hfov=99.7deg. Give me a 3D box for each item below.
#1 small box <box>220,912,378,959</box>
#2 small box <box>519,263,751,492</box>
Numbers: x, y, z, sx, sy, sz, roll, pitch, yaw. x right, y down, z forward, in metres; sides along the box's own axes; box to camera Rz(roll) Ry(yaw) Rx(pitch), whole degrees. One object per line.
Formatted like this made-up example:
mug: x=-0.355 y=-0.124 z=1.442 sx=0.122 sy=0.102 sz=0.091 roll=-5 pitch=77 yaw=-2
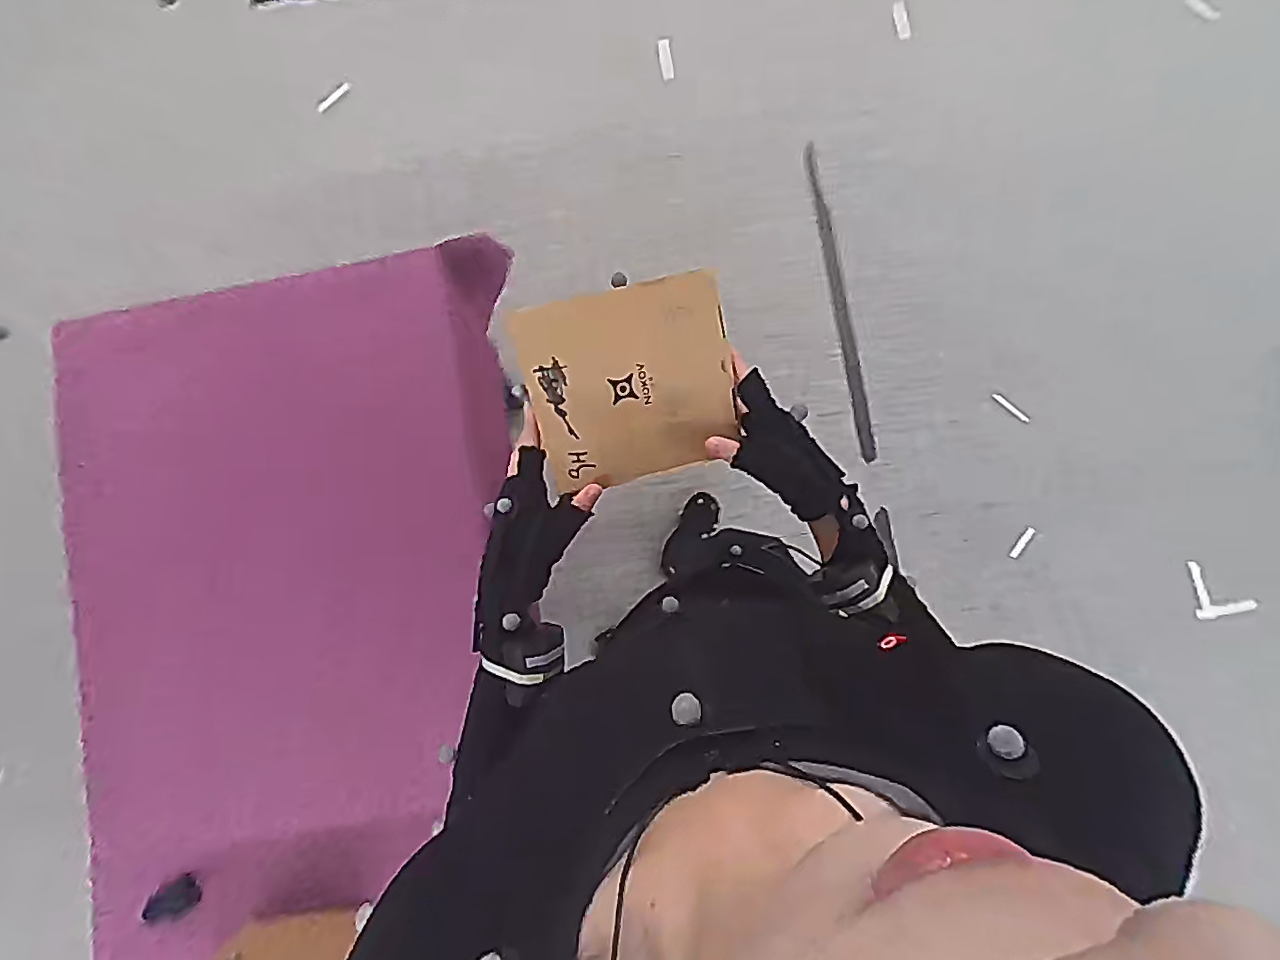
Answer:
small box: x=-0.437 y=0.664 z=0.644 sx=0.179 sy=0.176 sz=0.168 roll=-7 pitch=82 yaw=-2
small box: x=-0.011 y=-0.106 z=0.530 sx=0.179 sy=0.176 sz=0.168 roll=-14 pitch=108 yaw=-5
